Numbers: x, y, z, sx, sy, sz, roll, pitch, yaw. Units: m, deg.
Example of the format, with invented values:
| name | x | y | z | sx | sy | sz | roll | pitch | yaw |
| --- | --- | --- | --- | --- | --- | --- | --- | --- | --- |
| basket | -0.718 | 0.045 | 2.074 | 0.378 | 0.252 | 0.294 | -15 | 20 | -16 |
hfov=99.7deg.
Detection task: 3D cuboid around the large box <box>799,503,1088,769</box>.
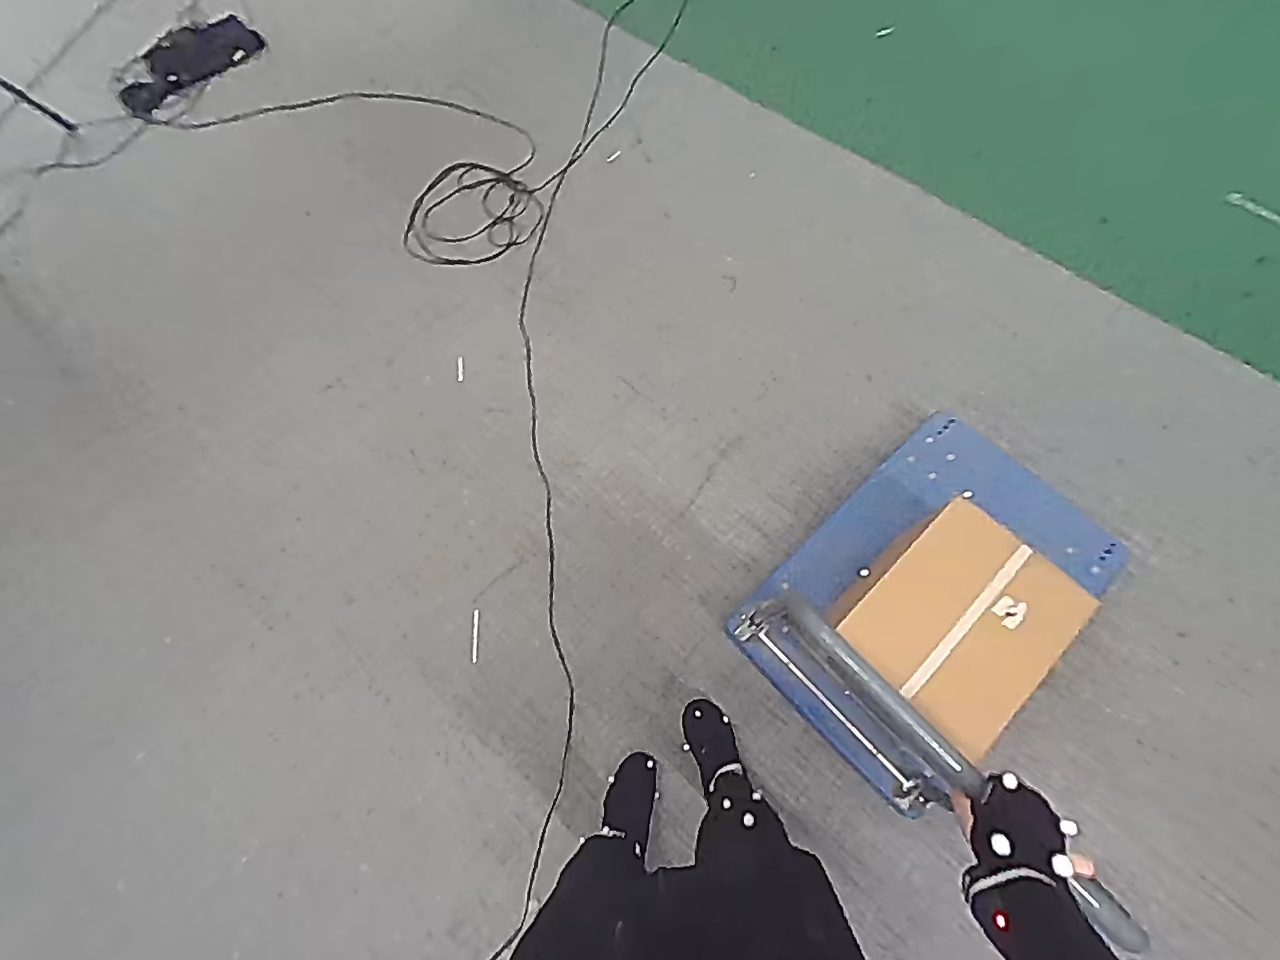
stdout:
| name | x | y | z | sx | sy | sz | roll | pitch | yaw |
| --- | --- | --- | --- | --- | --- | --- | --- | --- | --- |
| large box | 0.611 | 0.332 | 1.159 | 0.408 | 0.320 | 0.320 | -42 | 73 | -13 |
